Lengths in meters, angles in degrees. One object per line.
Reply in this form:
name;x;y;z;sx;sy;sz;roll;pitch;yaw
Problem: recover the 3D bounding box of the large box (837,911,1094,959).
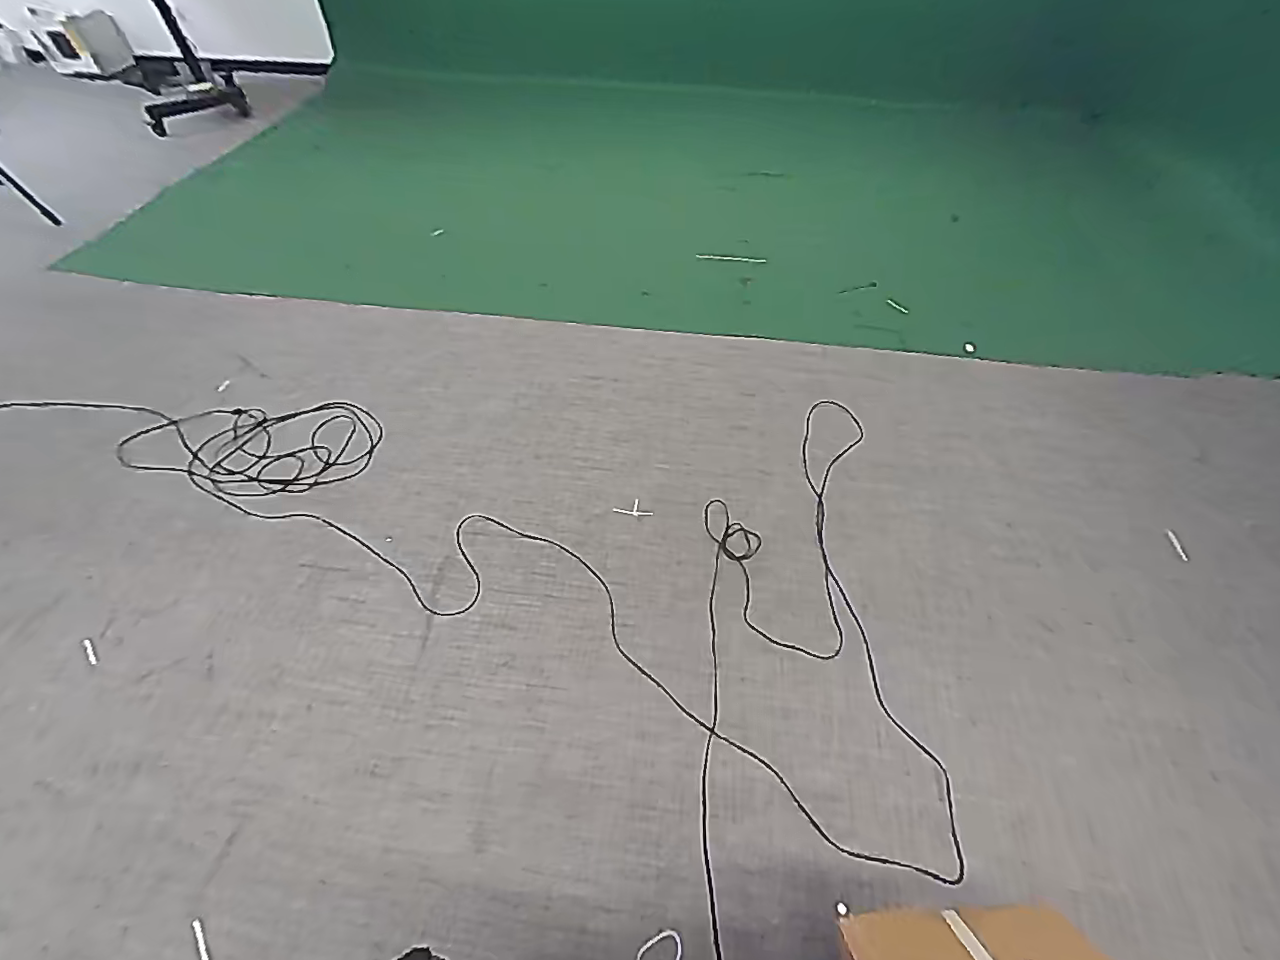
large box;0.446;0.772;0.578;0.320;0.408;0.320;-2;86;1
